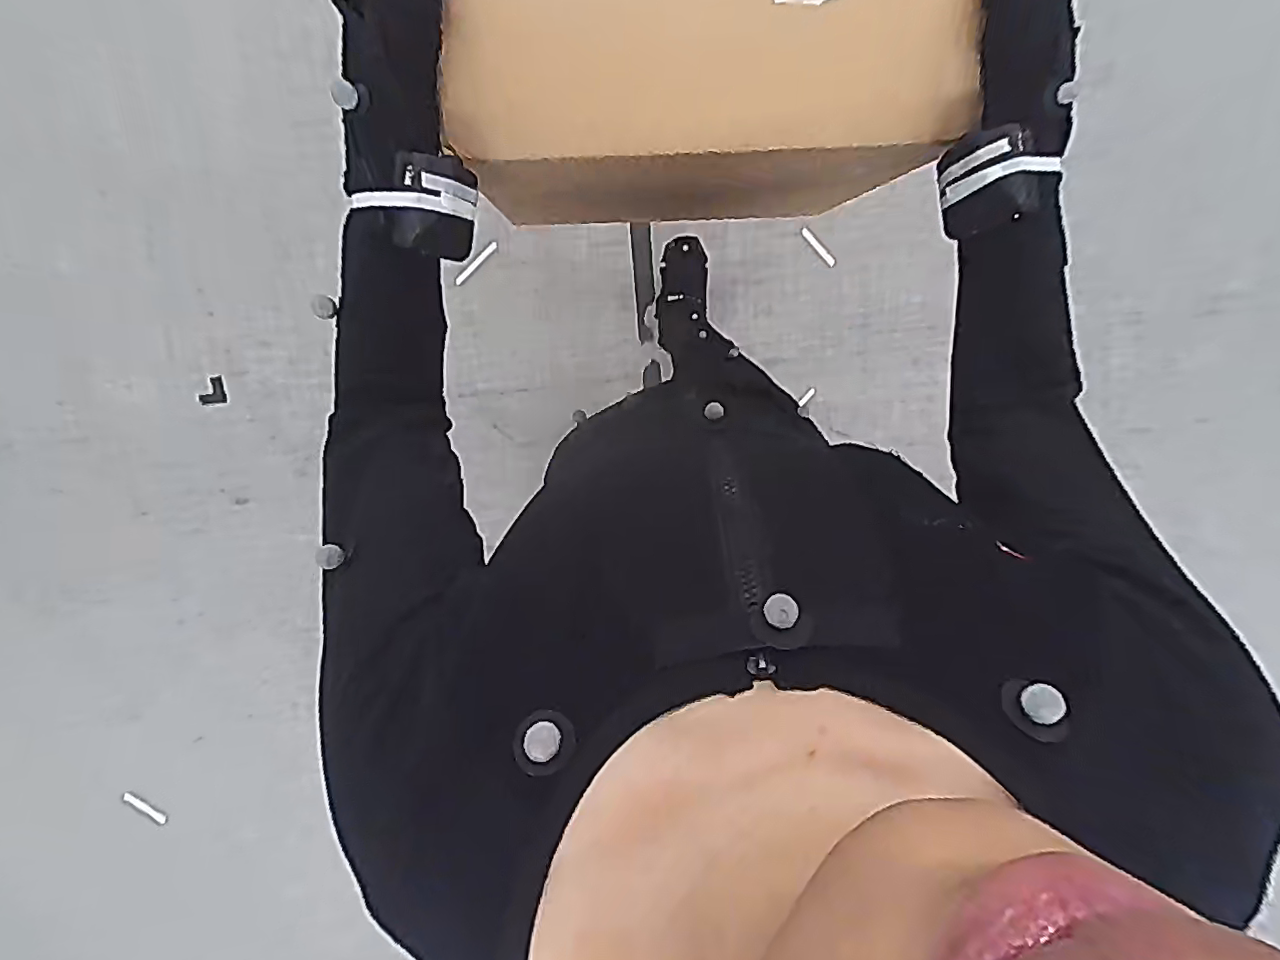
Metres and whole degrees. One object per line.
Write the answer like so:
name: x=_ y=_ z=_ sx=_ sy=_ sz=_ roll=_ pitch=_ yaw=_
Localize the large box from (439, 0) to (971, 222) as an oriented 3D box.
large box: x=0.037 y=-0.452 z=0.522 sx=0.408 sy=0.320 sz=0.320 roll=-4 pitch=108 yaw=-3
